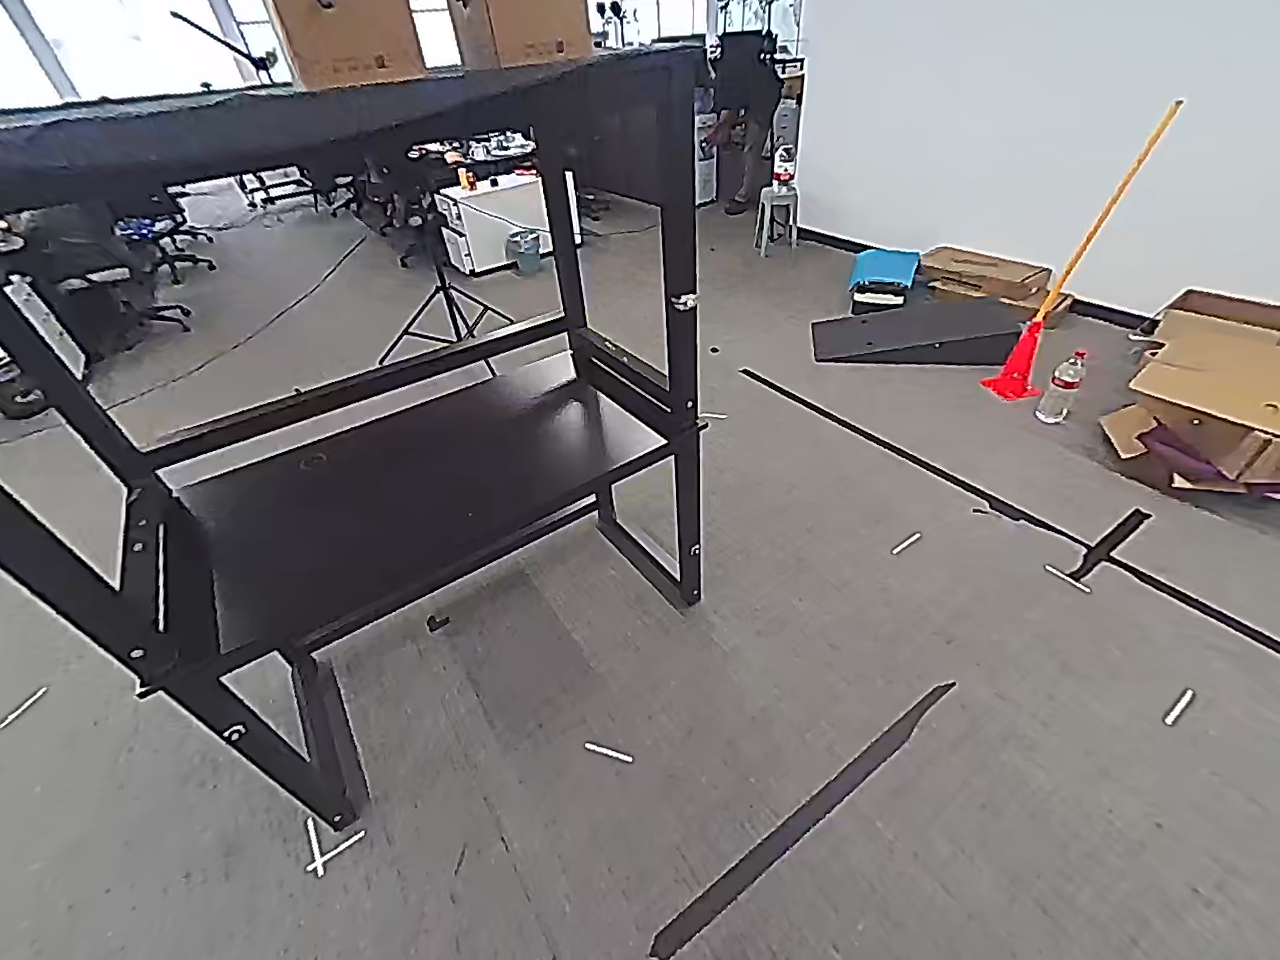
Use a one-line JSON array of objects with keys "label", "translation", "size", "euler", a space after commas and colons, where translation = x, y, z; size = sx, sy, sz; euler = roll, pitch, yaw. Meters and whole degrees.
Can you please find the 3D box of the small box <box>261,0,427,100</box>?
[{"label": "small box", "translation": [-0.416, -0.640, 0.747], "size": [0.168, 0.176, 0.179], "euler": [-24, 42, -21]}]
